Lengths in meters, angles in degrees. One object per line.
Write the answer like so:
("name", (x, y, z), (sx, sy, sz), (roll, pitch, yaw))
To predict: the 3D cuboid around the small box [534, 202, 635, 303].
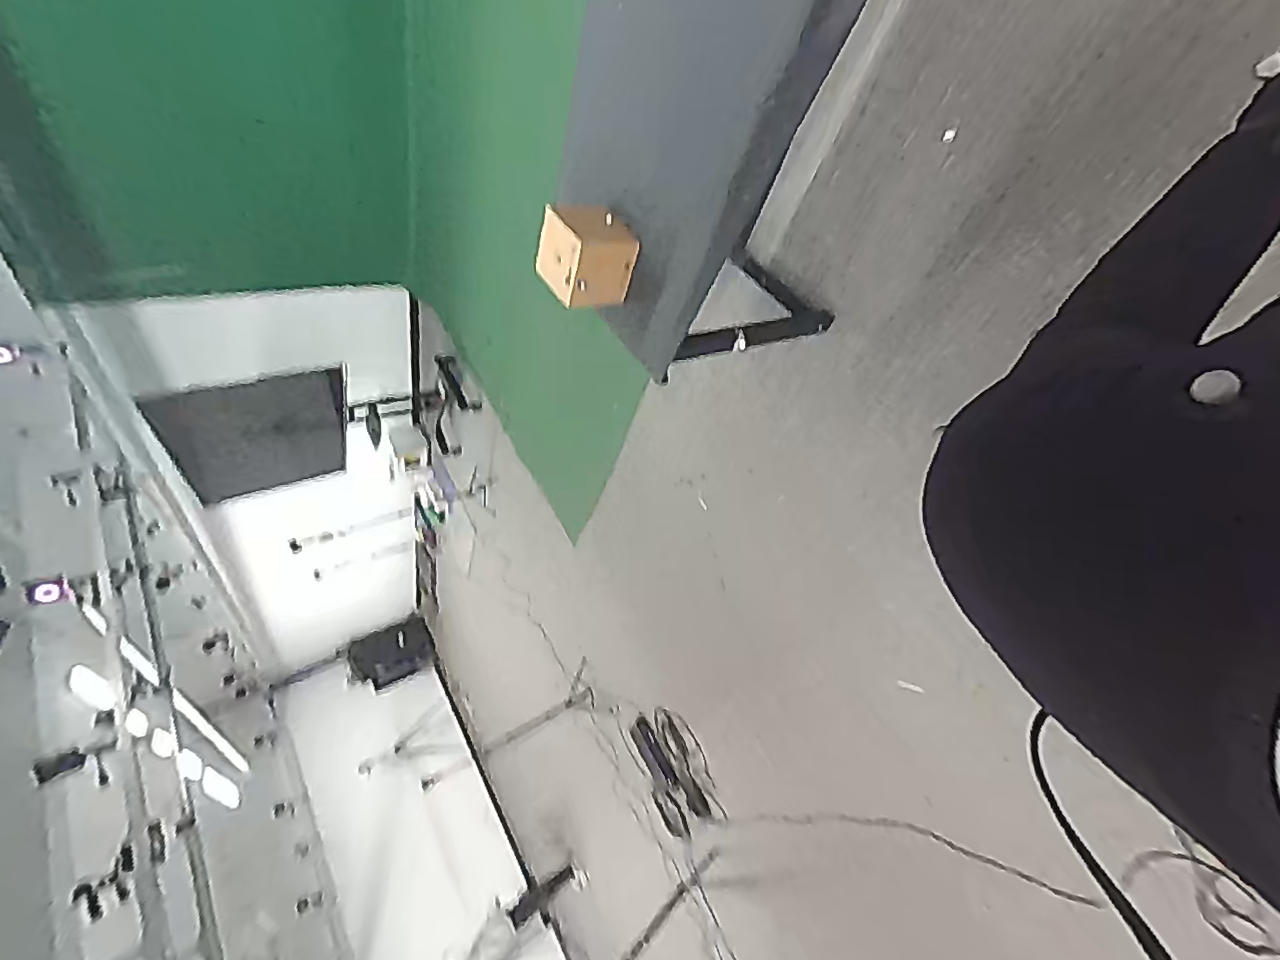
("small box", (-0.139, -0.561, 1.334), (0.179, 0.176, 0.168), (53, 144, 26))
